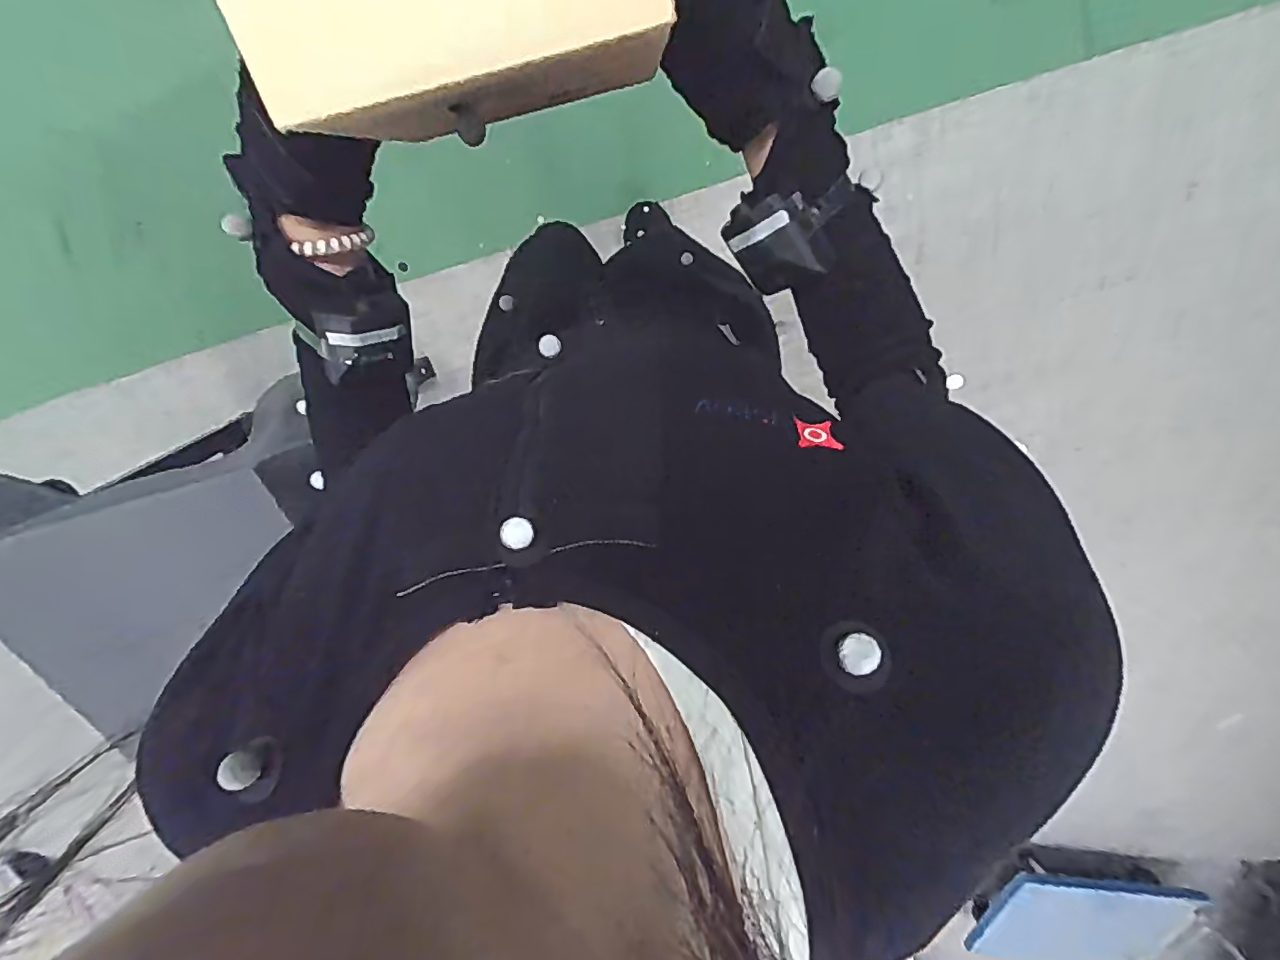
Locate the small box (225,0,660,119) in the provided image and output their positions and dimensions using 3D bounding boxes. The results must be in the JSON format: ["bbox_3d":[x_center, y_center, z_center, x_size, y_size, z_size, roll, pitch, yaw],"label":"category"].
[{"bbox_3d":[-0.086,-0.278,0.237,0.168,0.176,0.179,-11,119,5],"label":"small box"}]
